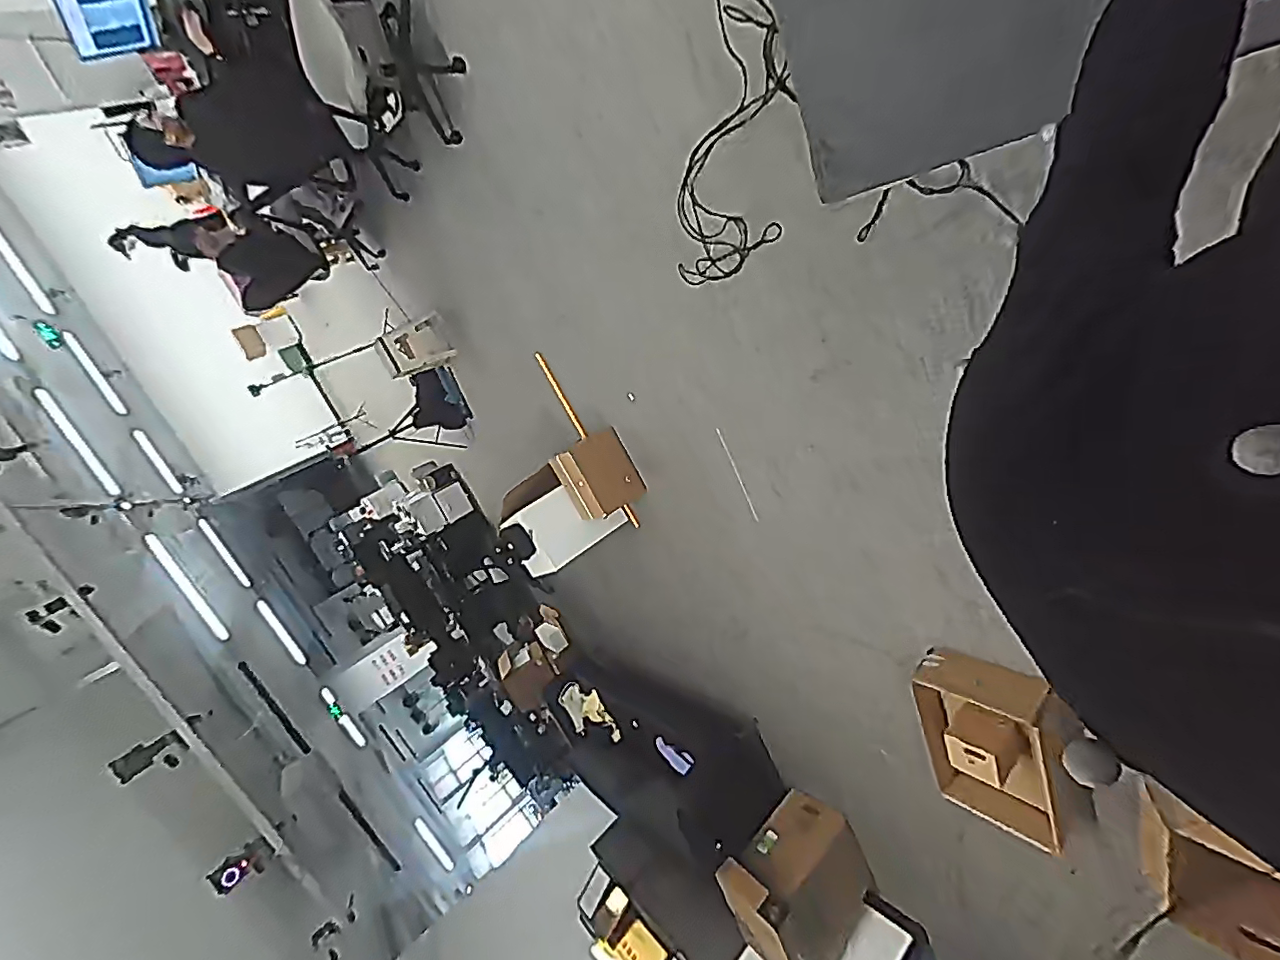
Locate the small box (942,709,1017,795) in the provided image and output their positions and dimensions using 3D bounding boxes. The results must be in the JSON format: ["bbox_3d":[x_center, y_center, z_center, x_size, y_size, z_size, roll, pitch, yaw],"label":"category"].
[{"bbox_3d":[1.188,0.941,1.889,0.168,0.176,0.179,10,128,54],"label":"small box"}]
